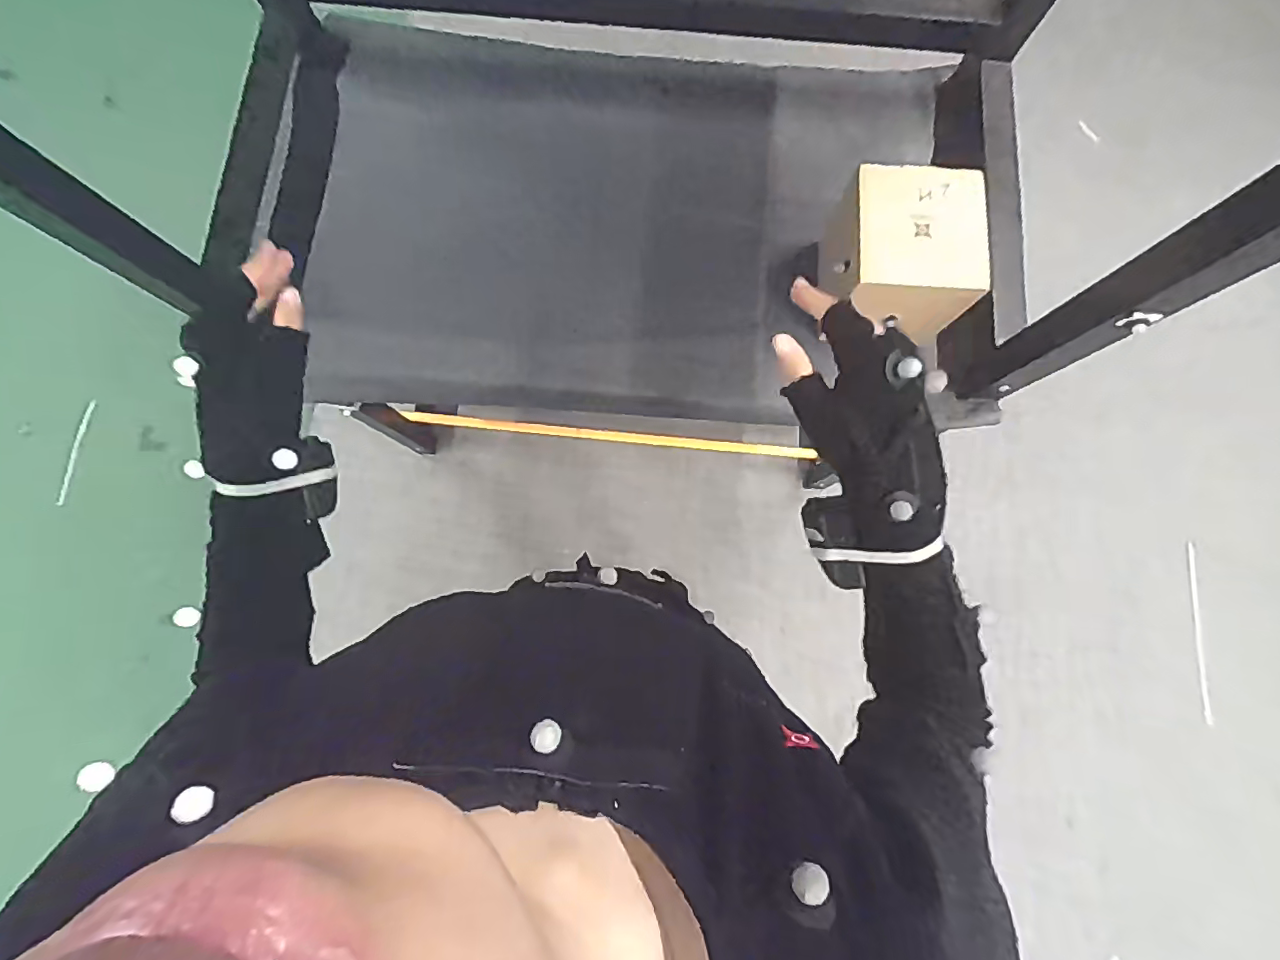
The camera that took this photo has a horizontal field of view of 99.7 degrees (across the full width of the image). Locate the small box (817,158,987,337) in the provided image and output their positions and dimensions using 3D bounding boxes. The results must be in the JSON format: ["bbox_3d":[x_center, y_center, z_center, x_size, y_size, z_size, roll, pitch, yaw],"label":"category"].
[{"bbox_3d":[0.363,-0.322,0.776,0.168,0.176,0.179,3,79,0],"label":"small box"}]
